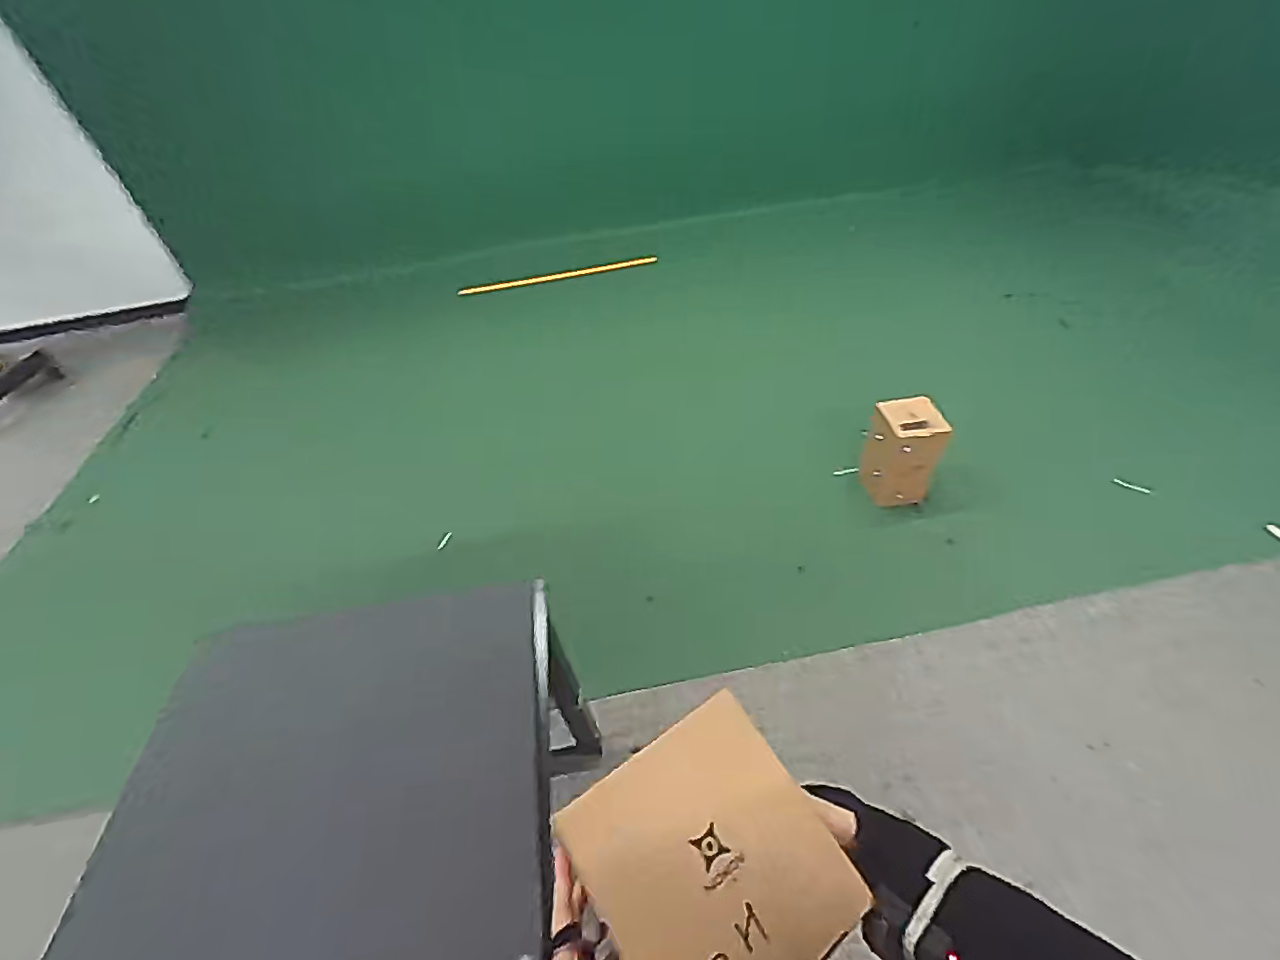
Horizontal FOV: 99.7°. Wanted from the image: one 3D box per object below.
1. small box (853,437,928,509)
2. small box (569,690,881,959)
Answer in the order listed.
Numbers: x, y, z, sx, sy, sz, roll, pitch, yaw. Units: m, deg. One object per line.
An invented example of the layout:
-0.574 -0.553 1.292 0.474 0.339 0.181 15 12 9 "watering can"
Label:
0.869 -0.023 1.896 0.168 0.176 0.179 -8 46 -1 "small box"
0.049 0.313 0.452 0.168 0.176 0.179 -24 64 -23 "small box"
